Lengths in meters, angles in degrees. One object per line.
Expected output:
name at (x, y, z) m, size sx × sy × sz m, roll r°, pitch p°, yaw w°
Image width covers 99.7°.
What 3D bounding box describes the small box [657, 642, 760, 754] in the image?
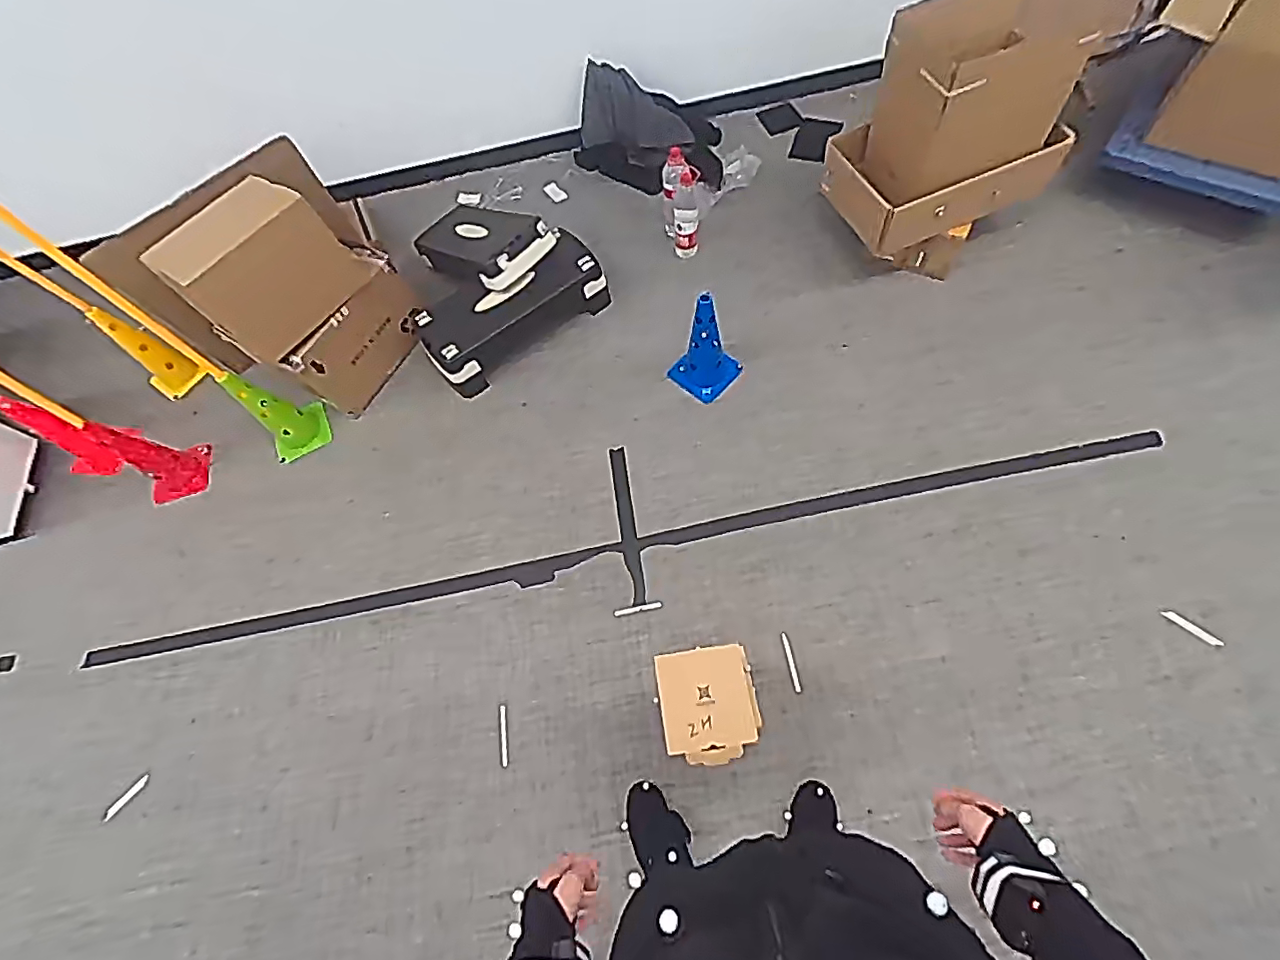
small box at (0.129, 0.430, 1.060) m, size 0.168 × 0.176 × 0.179 m, roll -10°, pitch 65°, yaw 3°
